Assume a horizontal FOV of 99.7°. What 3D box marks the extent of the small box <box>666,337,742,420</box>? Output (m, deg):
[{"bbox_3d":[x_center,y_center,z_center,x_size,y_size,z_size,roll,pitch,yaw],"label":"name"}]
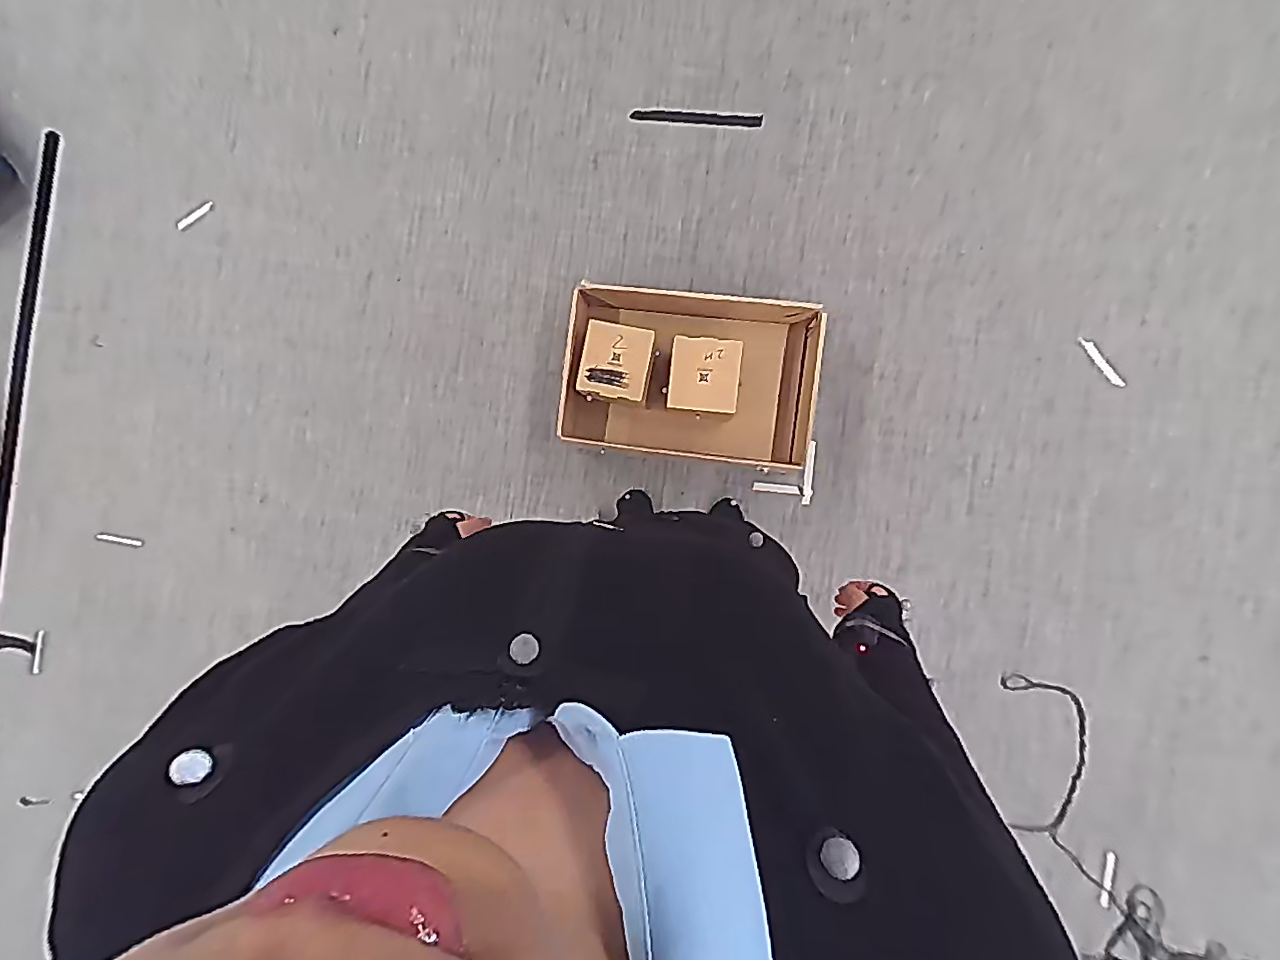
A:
[{"bbox_3d":[0.161,-0.249,1.364,0.168,0.176,0.179,6,91,5],"label":"small box"}]
